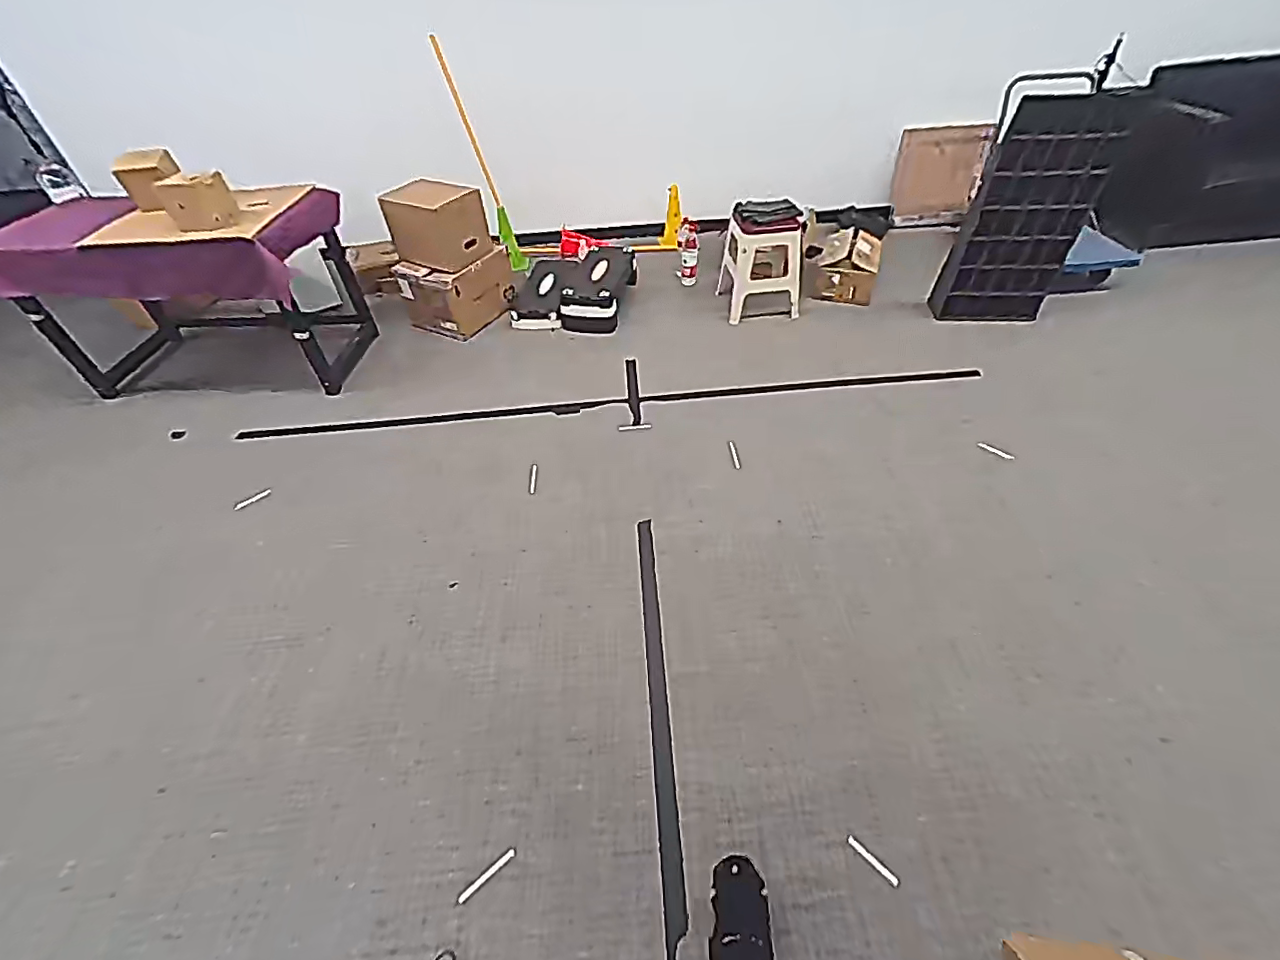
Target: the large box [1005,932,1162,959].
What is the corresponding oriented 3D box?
[{"bbox_3d":[0.616,0.751,0.514,0.320,0.408,0.320,4,79,8],"label":"large box"}]
